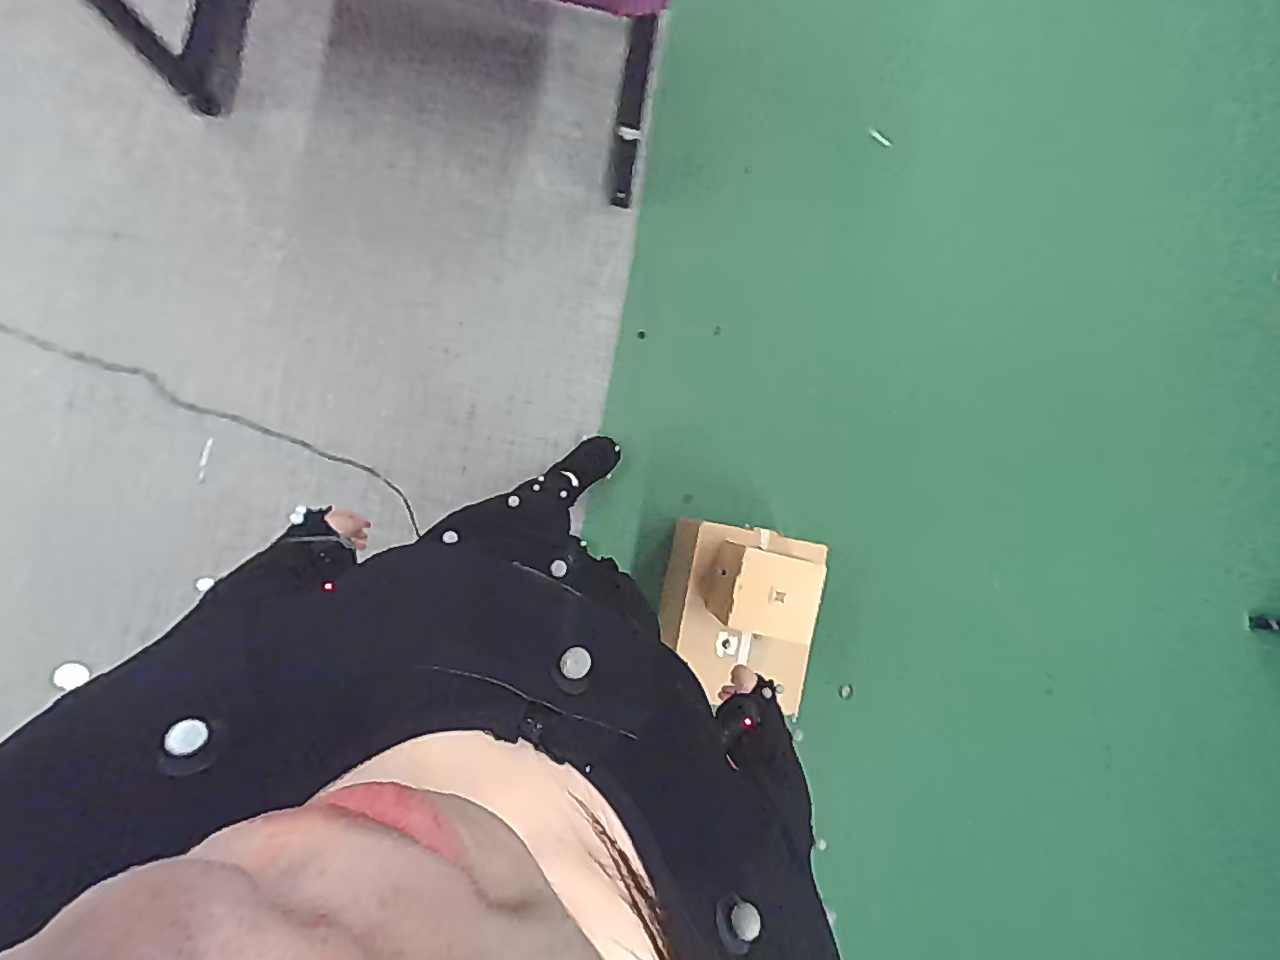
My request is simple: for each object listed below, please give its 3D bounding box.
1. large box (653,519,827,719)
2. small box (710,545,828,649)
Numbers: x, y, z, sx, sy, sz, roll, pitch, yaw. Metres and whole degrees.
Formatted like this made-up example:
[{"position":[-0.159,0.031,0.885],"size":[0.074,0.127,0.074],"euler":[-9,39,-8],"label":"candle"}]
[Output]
[{"position":[0.235,0.327,1.375],"size":[0.320,0.320,0.408],"euler":[12,87,-5],"label":"large box"},{"position":[0.264,0.237,1.137],"size":[0.179,0.176,0.168],"euler":[14,87,-4],"label":"small box"}]
